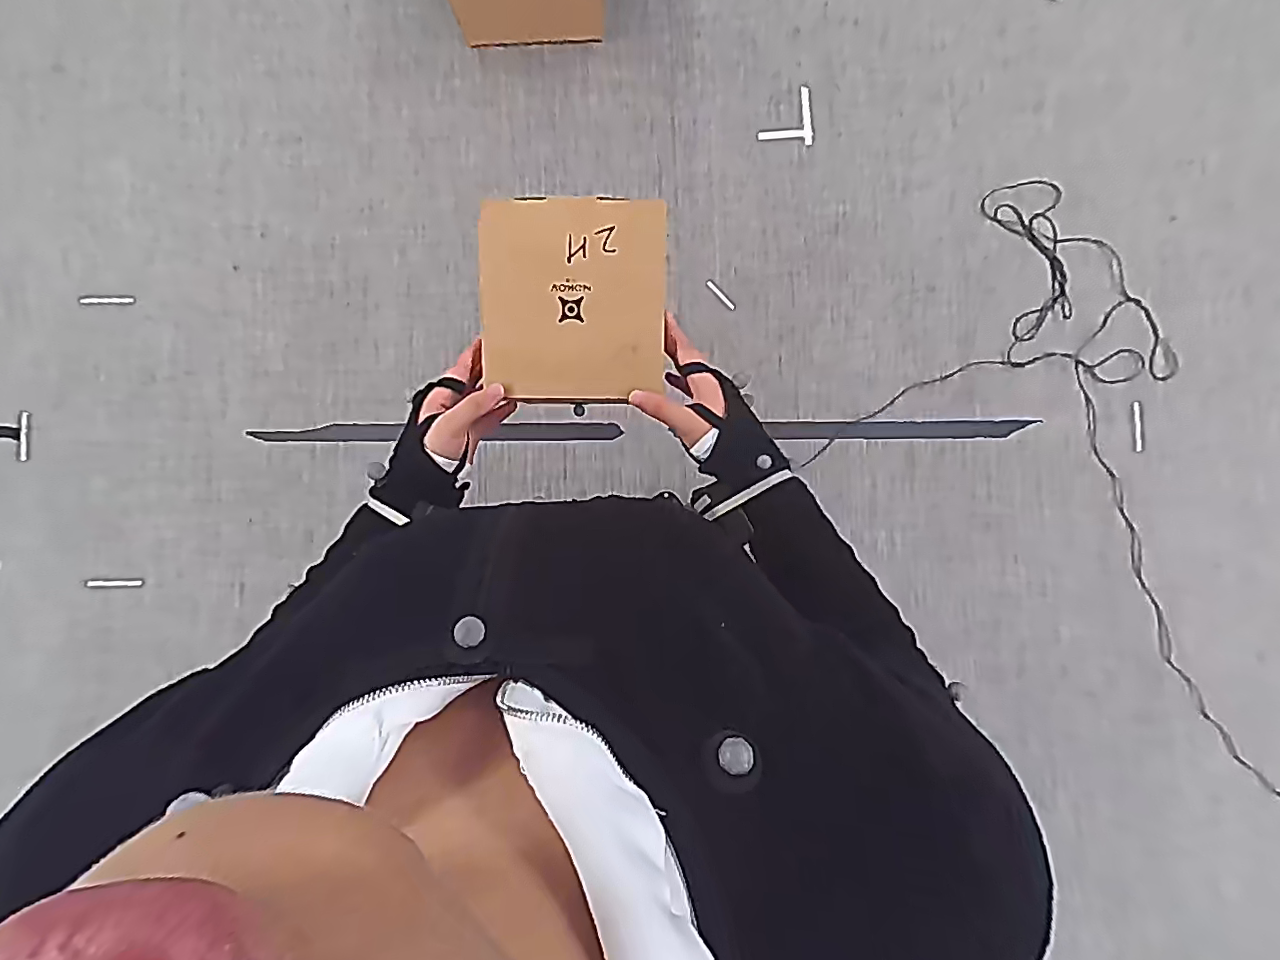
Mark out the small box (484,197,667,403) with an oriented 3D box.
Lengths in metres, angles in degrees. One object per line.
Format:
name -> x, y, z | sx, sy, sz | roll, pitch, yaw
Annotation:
small box -> -0.058, -0.172, 0.567 | 0.168, 0.176, 0.179 | 1, 96, 0
